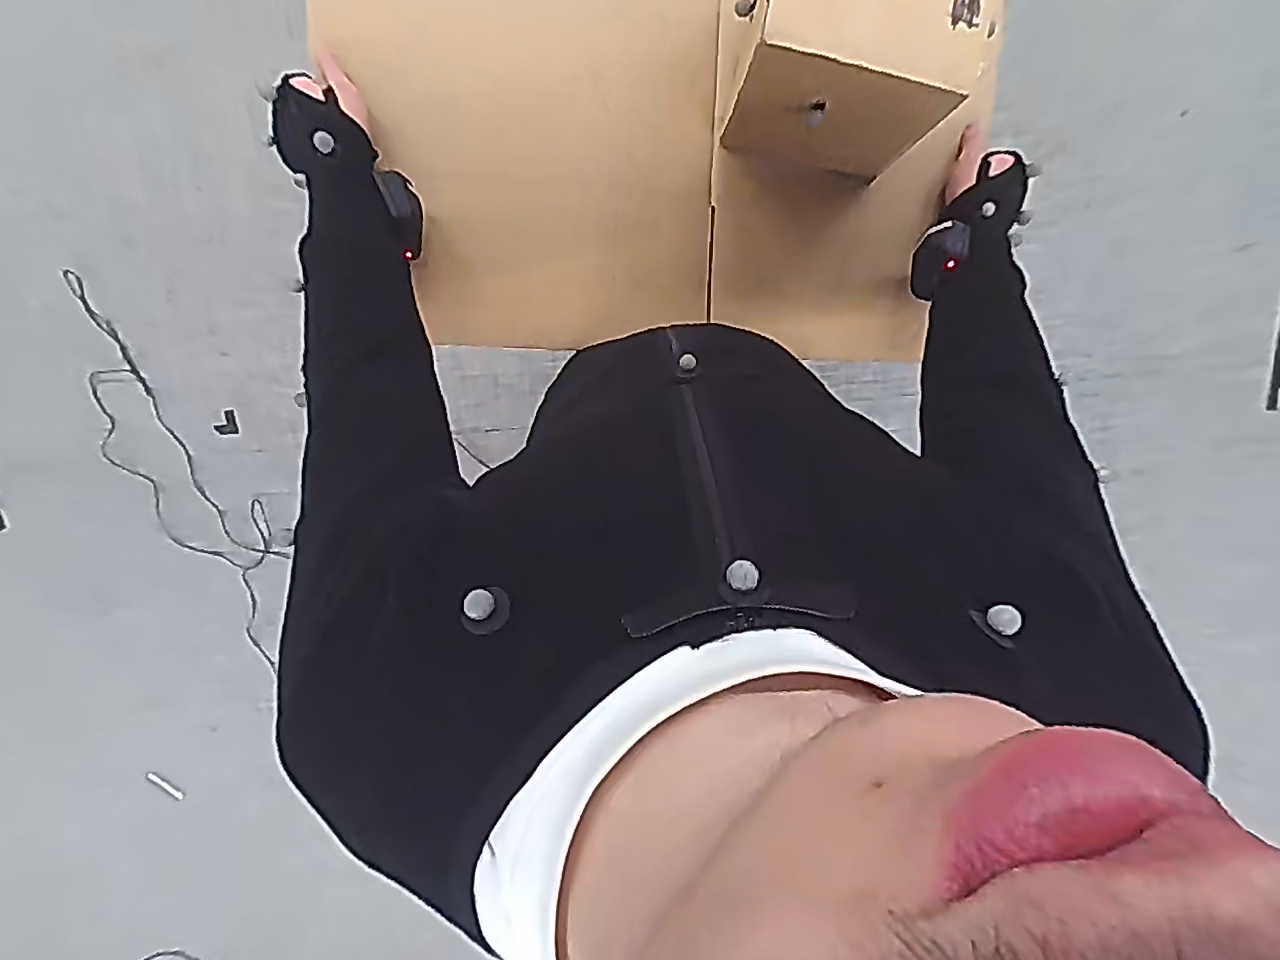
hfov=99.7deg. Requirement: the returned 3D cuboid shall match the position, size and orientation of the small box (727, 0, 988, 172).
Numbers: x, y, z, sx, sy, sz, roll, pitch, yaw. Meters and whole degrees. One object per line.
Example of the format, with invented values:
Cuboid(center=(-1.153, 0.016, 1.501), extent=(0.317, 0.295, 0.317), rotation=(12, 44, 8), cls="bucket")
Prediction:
Cuboid(center=(0.189, -0.414, 0.497), extent=(0.179, 0.176, 0.168), rotation=(11, 98, -3), cls="small box")
